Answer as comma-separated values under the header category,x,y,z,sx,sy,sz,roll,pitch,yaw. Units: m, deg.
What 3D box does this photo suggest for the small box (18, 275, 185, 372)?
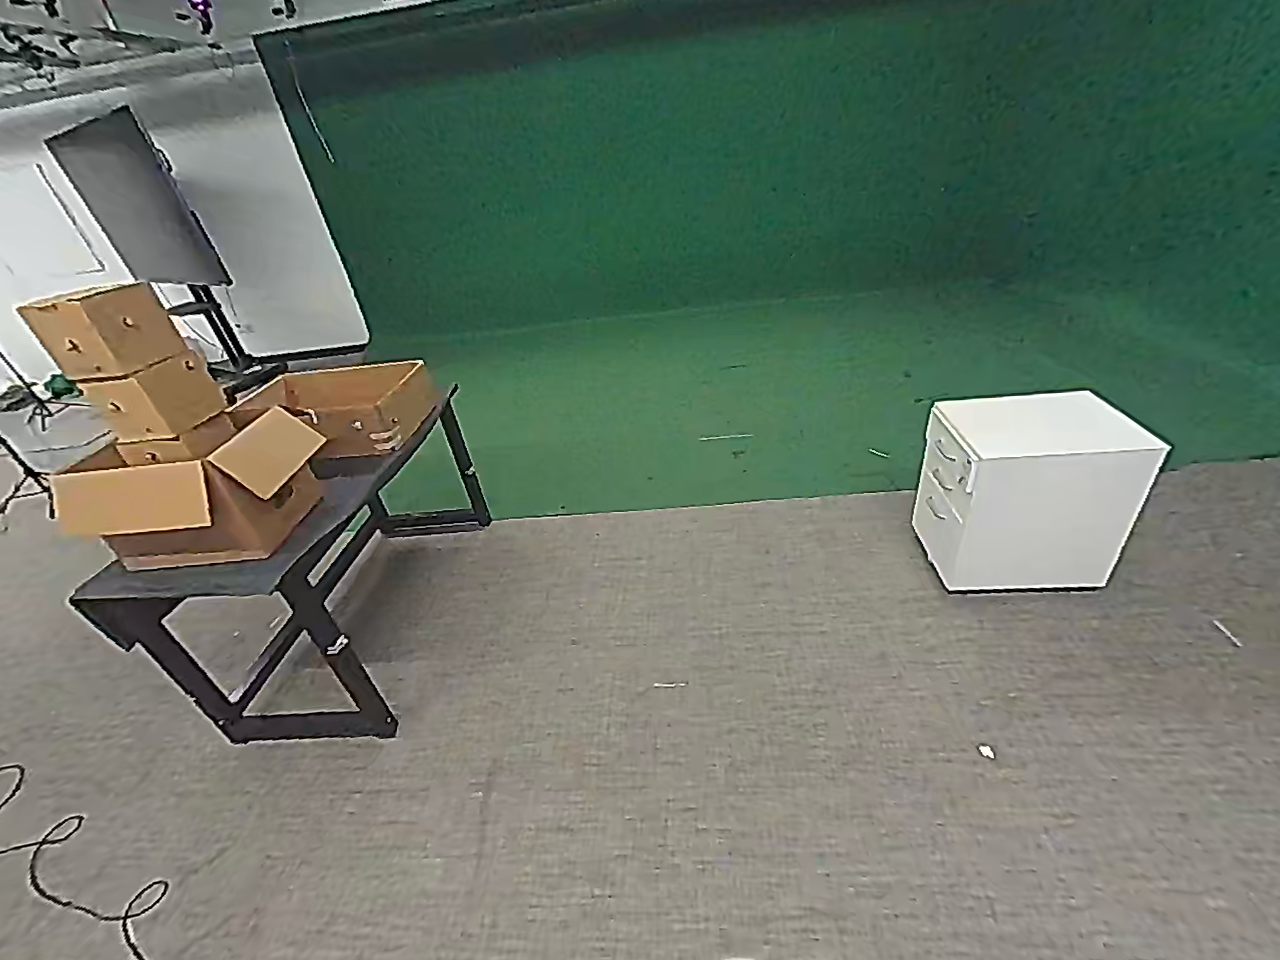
category,x,y,z,sx,sy,sz,roll,pitch,yaw
small box,-1.212,-0.353,1.236,0.168,0.176,0.179,-2,34,9

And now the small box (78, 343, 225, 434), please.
category,x,y,z,sx,sy,sz,roll,pitch,yaw
small box,-1.186,-0.222,1.332,0.168,0.176,0.179,-1,33,11
